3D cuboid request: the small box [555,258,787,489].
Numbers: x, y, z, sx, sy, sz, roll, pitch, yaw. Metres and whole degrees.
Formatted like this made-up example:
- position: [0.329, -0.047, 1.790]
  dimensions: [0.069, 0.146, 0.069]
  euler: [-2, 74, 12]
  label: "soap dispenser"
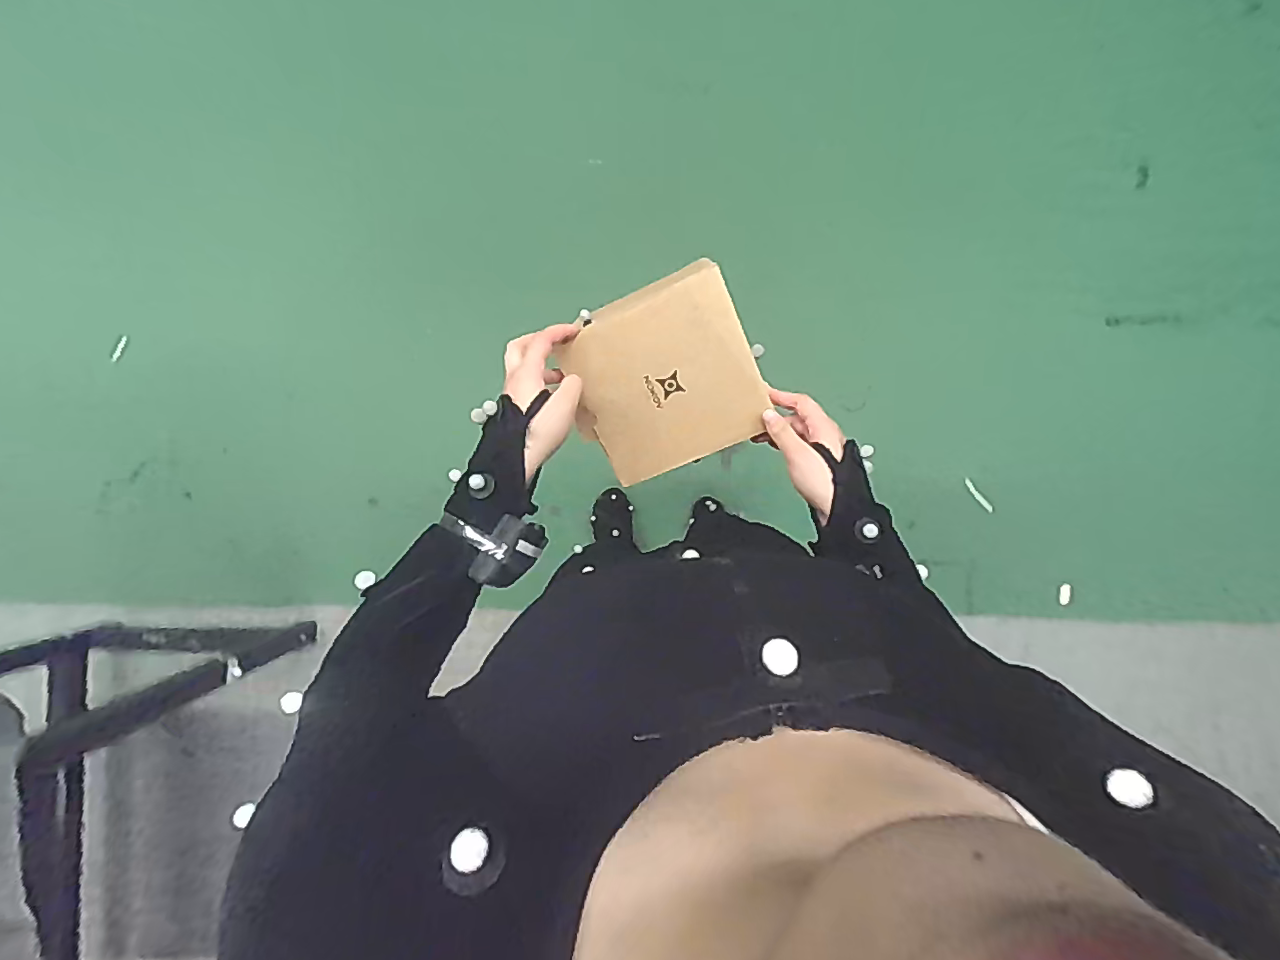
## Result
- position: [0.035, -0.122, 0.583]
  dimensions: [0.179, 0.176, 0.168]
  euler: [-23, 112, 14]
  label: "small box"
